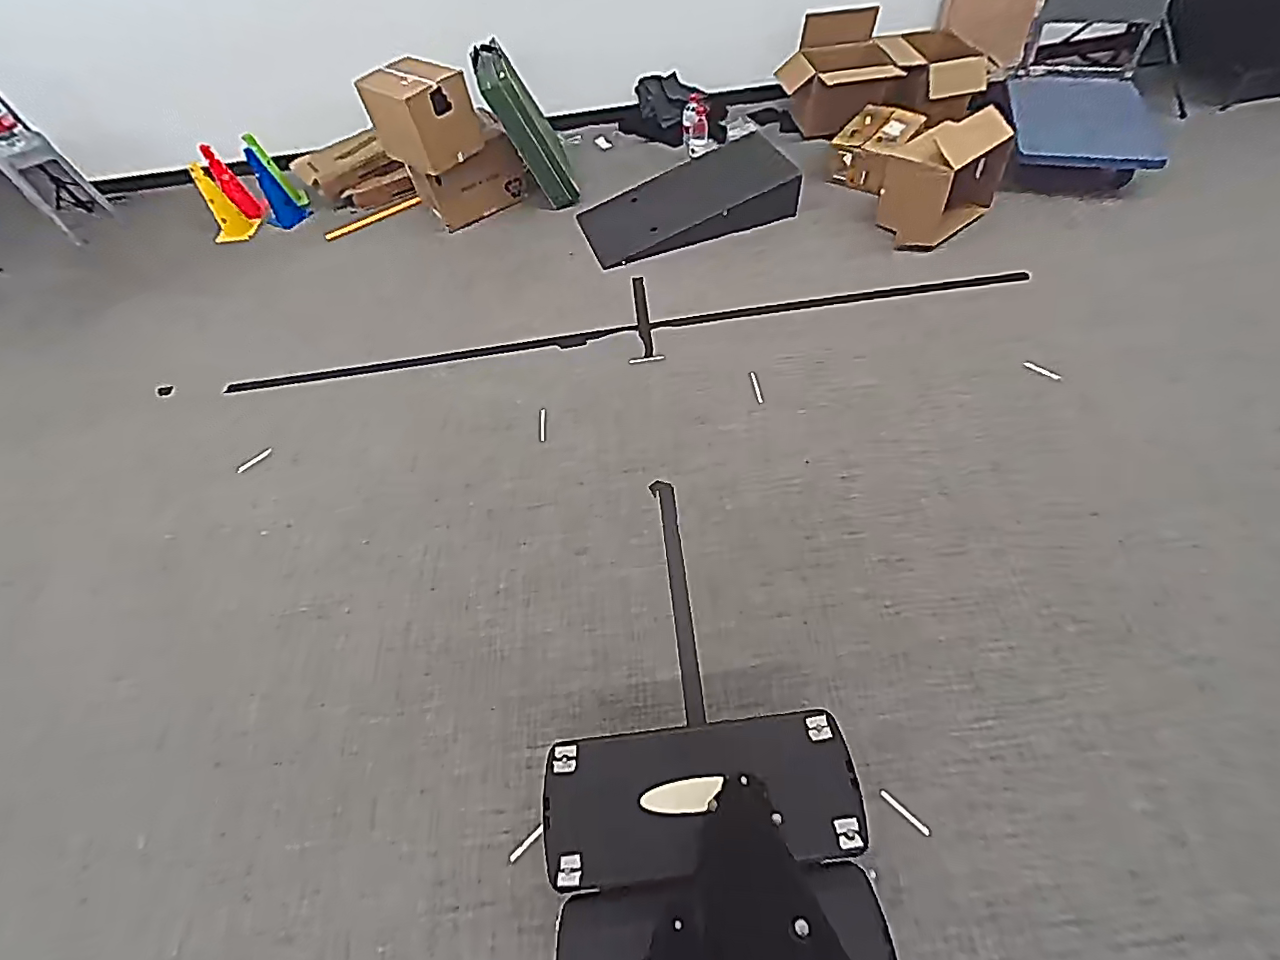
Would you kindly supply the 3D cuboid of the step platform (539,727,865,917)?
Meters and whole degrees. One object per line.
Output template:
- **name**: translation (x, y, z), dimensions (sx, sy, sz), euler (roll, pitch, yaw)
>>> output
- **step platform**: translation (0.123, 0.743, 1.193), dimensions (0.684, 0.204, 0.286), euler (-8, 56, -1)
